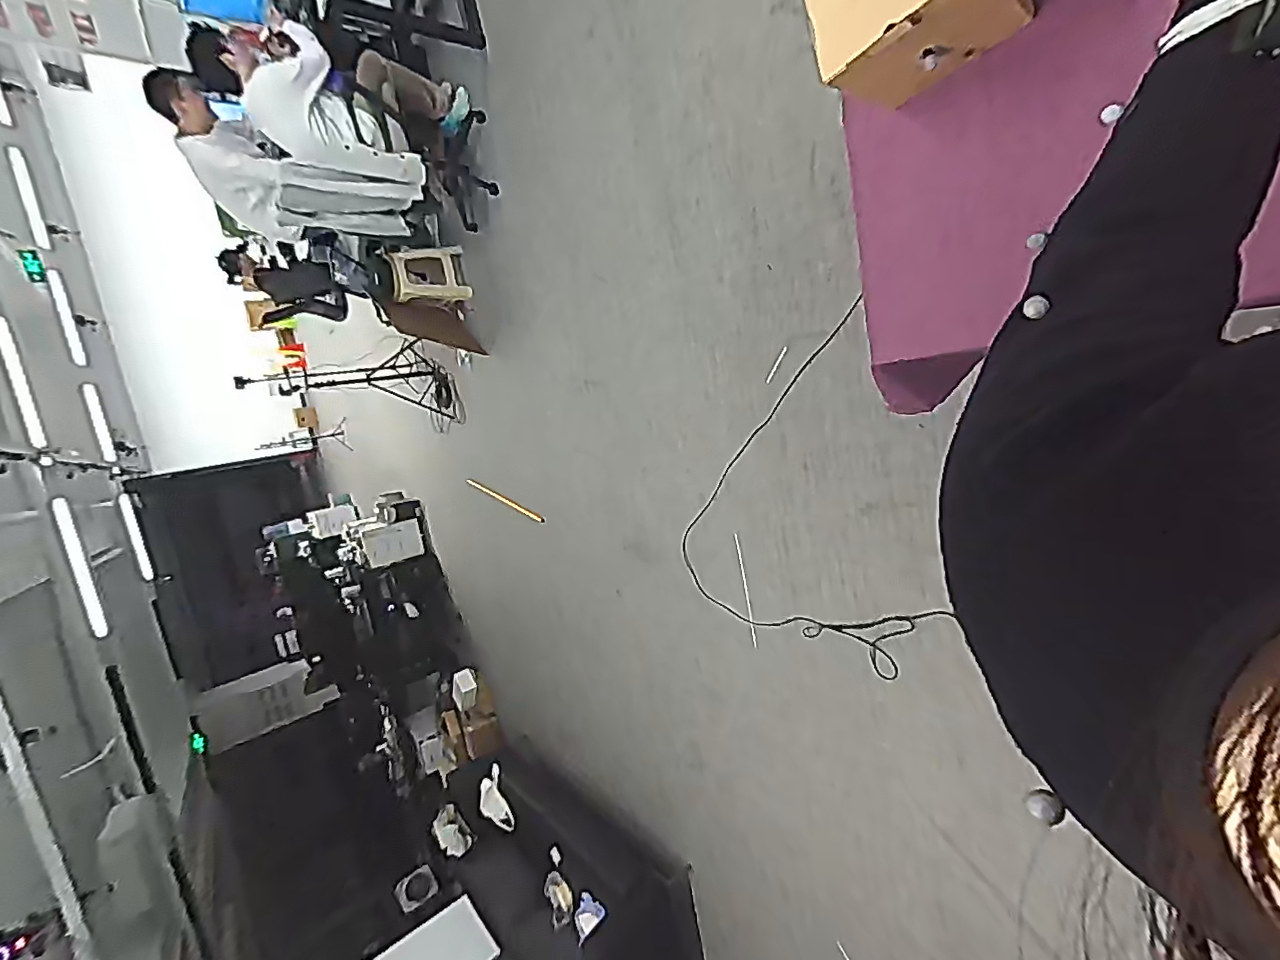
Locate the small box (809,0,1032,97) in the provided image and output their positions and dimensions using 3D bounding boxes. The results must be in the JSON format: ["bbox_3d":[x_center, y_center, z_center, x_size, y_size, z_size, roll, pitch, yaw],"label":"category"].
[{"bbox_3d":[0.309,-0.567,0.605,0.168,0.176,0.179,-7,98,53],"label":"small box"}]
